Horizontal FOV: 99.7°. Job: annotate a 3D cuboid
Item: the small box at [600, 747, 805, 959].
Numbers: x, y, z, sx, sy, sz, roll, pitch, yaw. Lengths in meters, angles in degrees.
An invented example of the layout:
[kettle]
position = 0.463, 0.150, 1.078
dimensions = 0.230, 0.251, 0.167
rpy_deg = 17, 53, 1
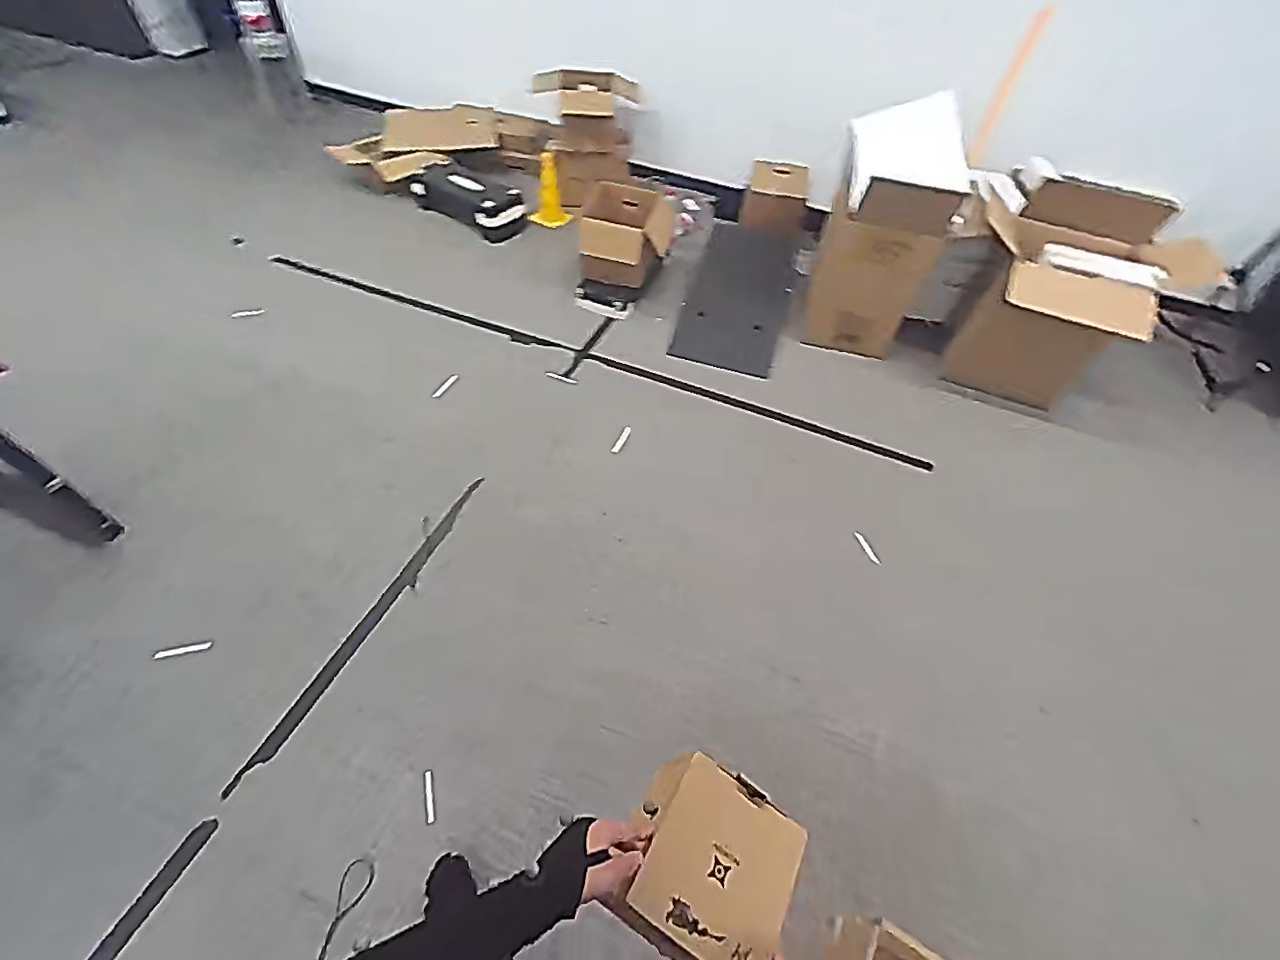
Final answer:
[small box]
position = 0.069, 0.470, 0.666
dimensions = 0.168, 0.176, 0.179
rpy_deg = 33, 51, 7
